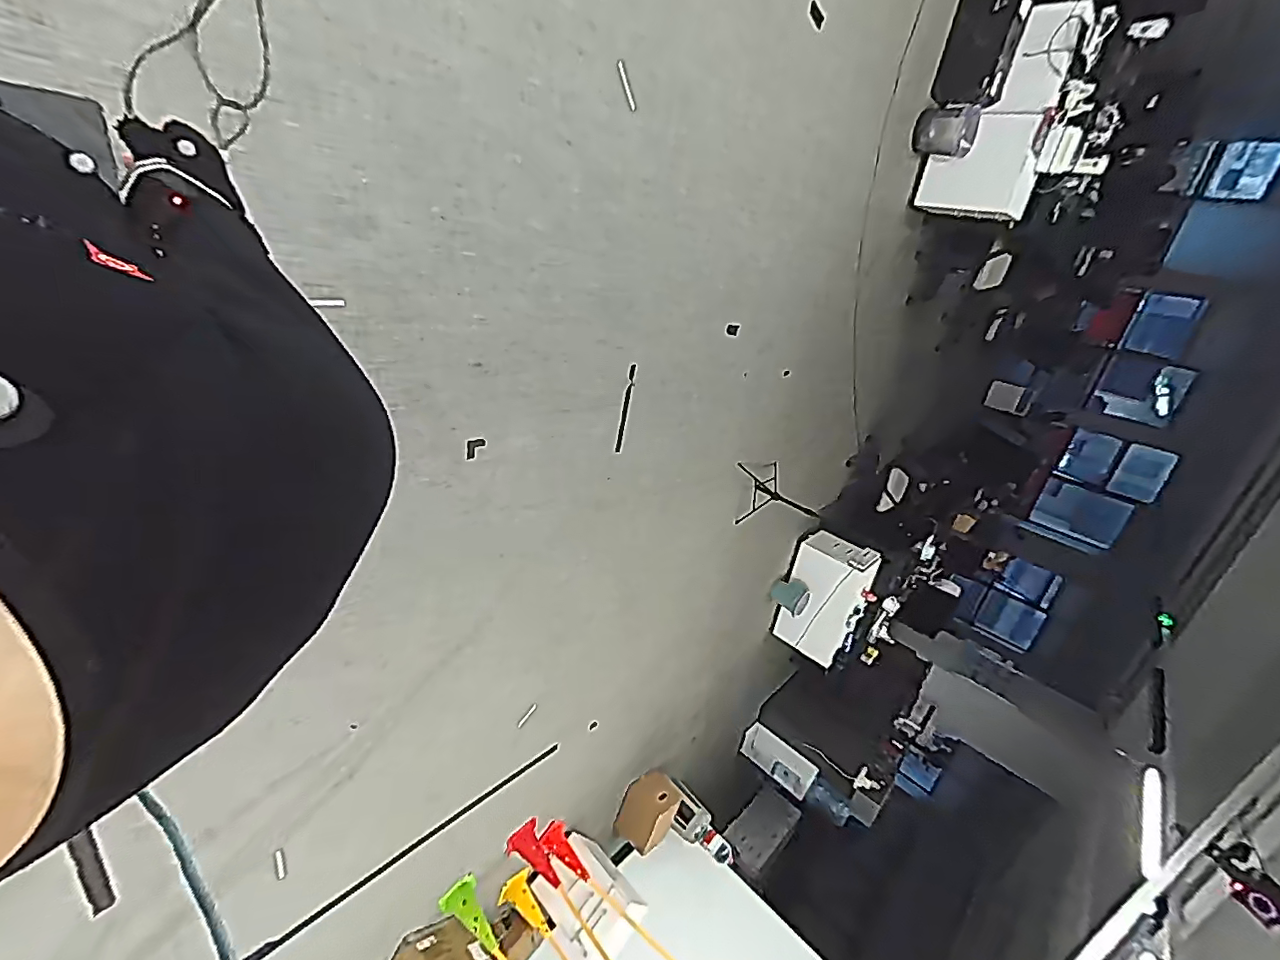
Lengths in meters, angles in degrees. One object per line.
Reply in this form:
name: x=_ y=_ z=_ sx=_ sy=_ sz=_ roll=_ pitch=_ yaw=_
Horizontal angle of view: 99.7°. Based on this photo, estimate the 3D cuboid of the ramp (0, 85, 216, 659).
ramp: x=-1.155 y=-0.151 z=0.953 sx=0.509 sy=0.206 sz=0.991 roll=-18 pitch=126 yaw=-43
